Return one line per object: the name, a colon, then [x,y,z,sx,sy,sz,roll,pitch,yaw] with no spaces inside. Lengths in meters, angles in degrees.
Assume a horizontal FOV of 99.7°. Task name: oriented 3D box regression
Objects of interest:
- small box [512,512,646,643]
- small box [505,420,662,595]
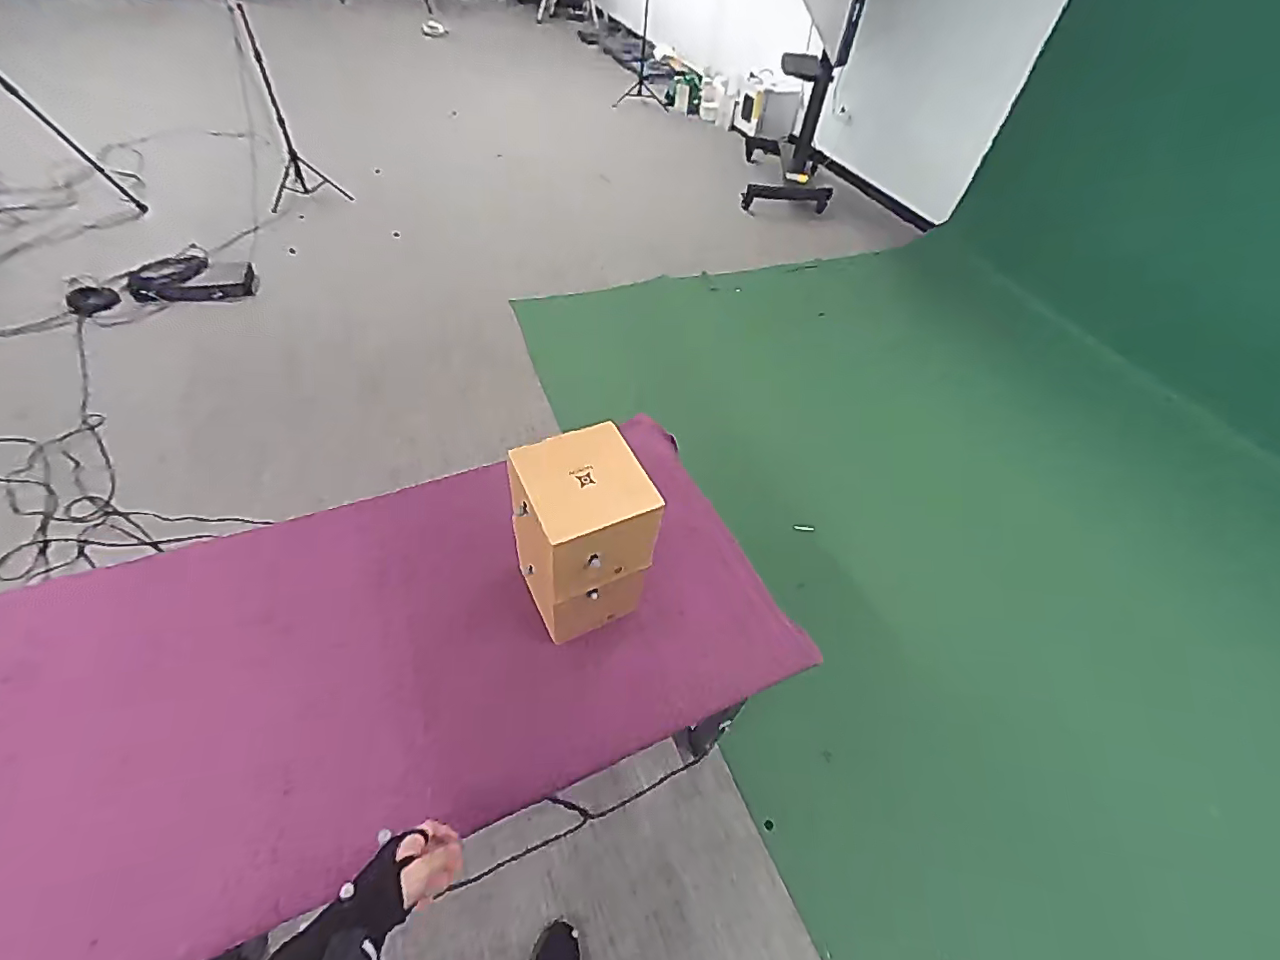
small box: [-0.108,0.143,0.921,0.168,0.176,0.179,-20,55,-22]
small box: [-0.085,0.047,0.791,0.168,0.176,0.179,-19,55,-21]
